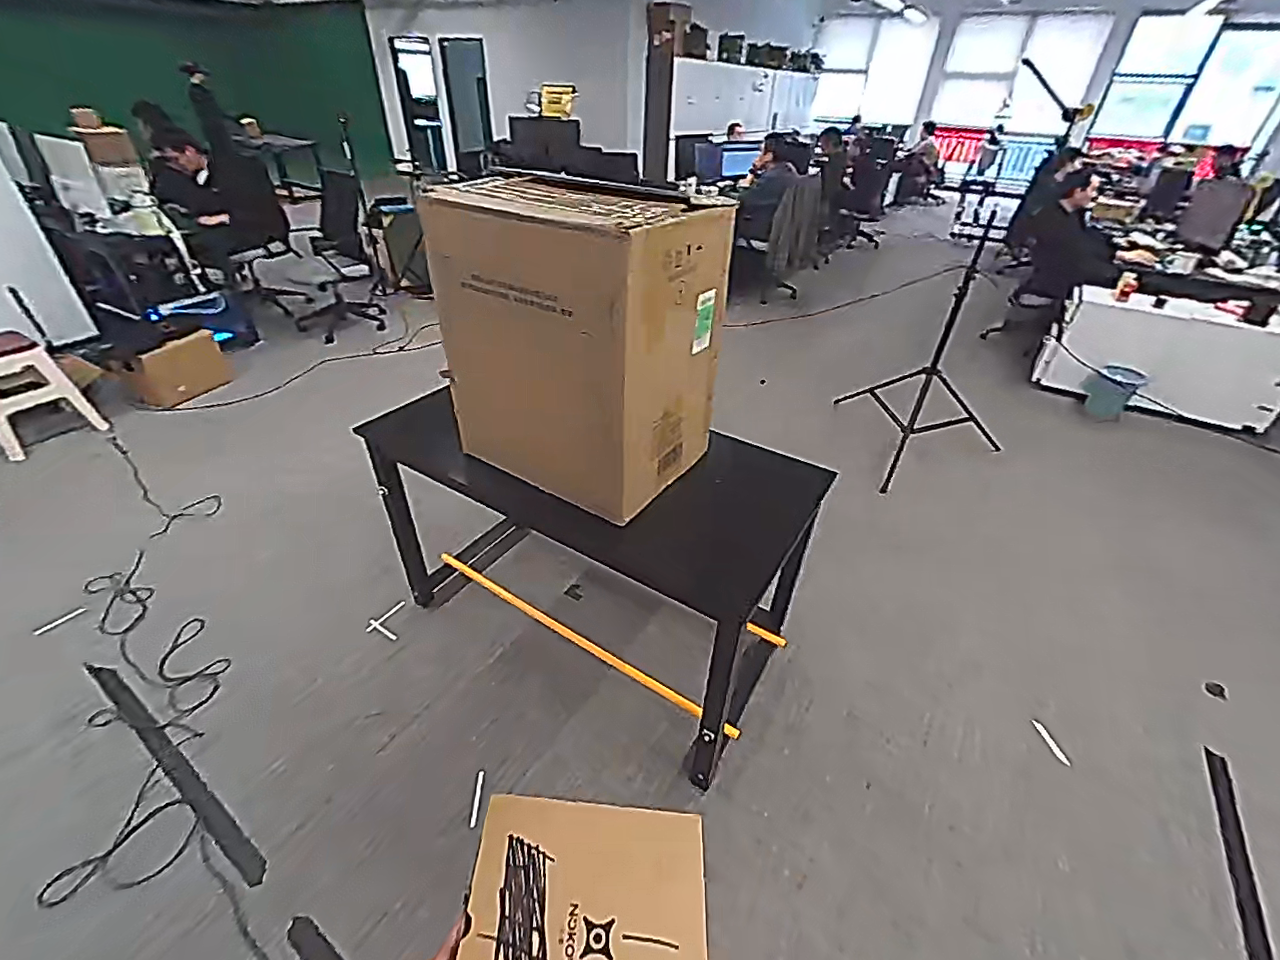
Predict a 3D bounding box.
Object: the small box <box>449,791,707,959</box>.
[{"bbox_3d":[-0.051,0.372,0.428,0.179,0.176,0.168,9,41,-6],"label":"small box"}]
